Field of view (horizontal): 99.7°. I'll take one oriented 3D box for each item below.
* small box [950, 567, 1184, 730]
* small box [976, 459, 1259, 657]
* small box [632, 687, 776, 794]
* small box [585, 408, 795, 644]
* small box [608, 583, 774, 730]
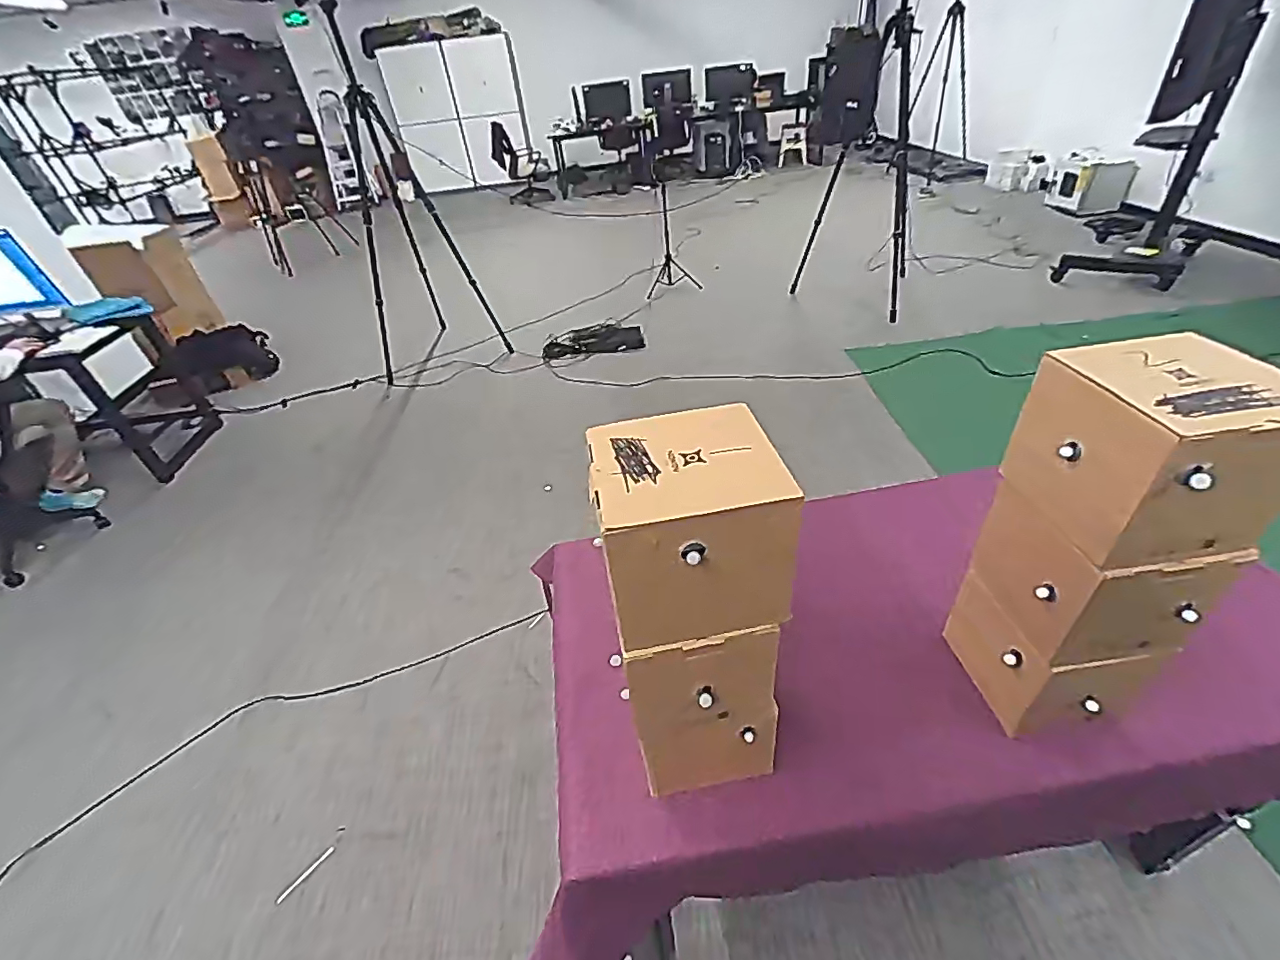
[{"bbox_3d":[0.576,0.230,0.762,0.168,0.176,0.179,-9,38,0],"label":"small box"},{"bbox_3d":[0.556,0.100,0.666,0.168,0.176,0.179,-8,37,1],"label":"small box"},{"bbox_3d":[0.079,0.311,0.758,0.179,0.176,0.168,-10,37,-3],"label":"small box"},{"bbox_3d":[0.046,0.048,0.563,0.179,0.176,0.168,-10,37,-4],"label":"small box"},{"bbox_3d":[0.056,0.181,0.661,0.168,0.176,0.179,-10,38,-4],"label":"small box"}]
